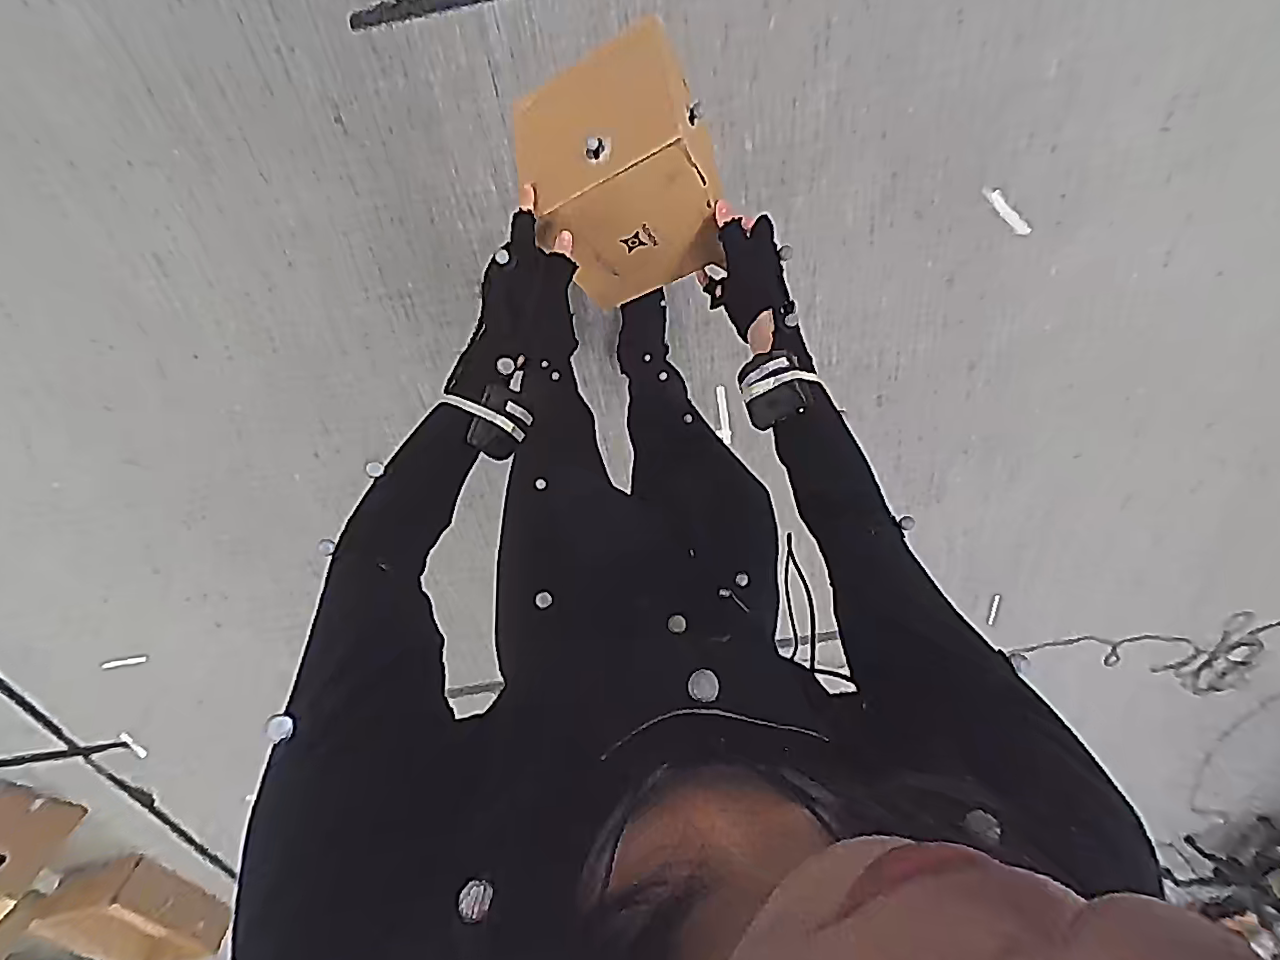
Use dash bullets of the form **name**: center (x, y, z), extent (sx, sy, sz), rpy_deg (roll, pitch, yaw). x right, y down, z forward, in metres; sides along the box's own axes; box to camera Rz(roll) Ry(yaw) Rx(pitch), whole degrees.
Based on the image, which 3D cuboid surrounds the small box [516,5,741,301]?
- **small box**: center (-0.014, -0.330, 0.569), extent (0.179, 0.176, 0.168), rpy_deg (-16, 159, 24)
